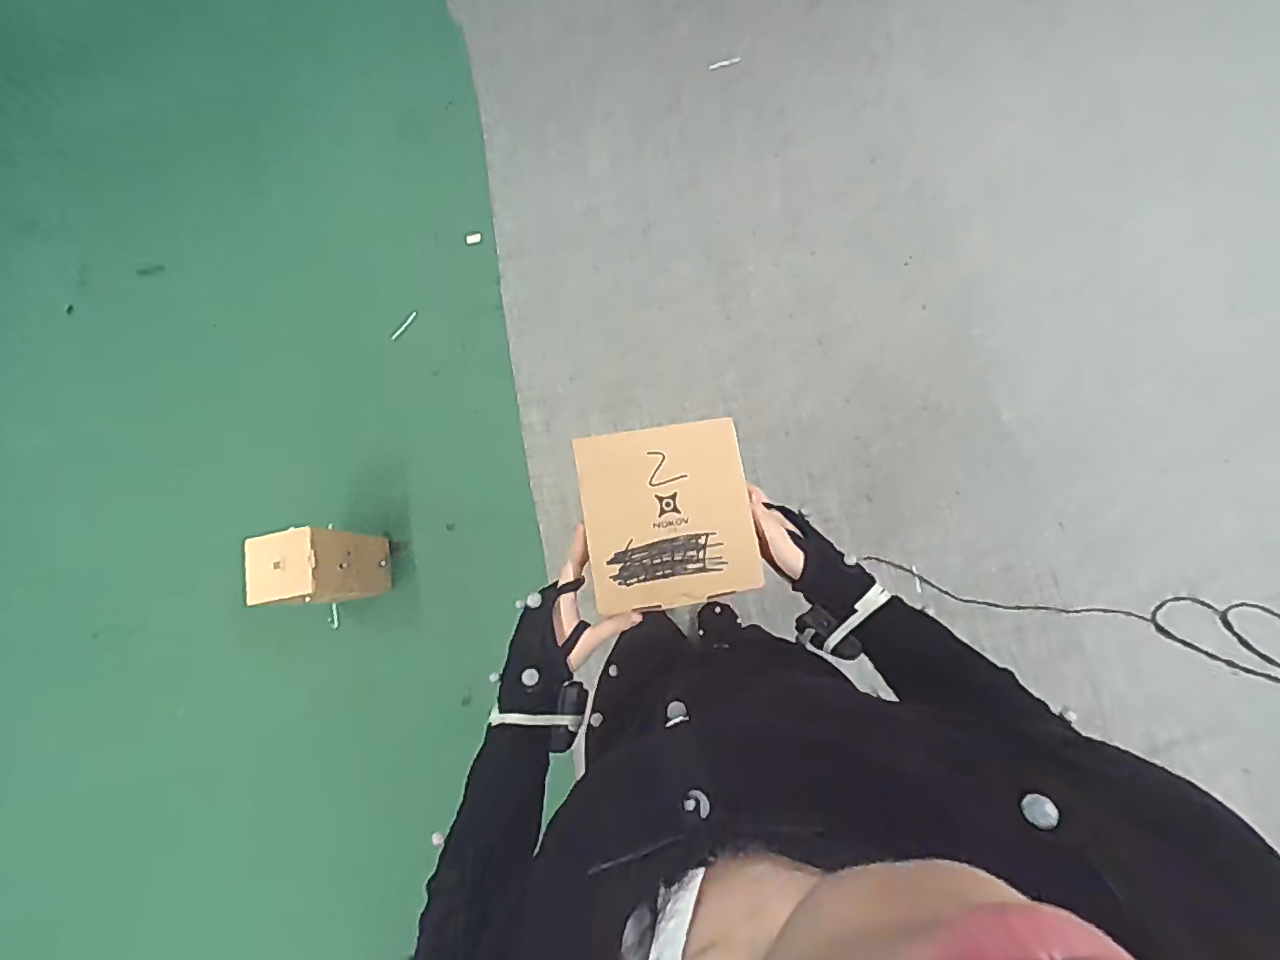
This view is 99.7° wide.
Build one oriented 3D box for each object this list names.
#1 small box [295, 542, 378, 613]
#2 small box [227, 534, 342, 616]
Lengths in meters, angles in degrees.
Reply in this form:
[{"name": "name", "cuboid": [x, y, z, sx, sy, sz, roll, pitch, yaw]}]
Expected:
[{"name": "small box", "cuboid": [-0.862, 0.276, 1.503, 0.179, 0.176, 0.168, -11, 78, 3]}, {"name": "small box", "cuboid": [-0.880, 0.241, 1.346, 0.179, 0.176, 0.168, -12, 77, 3]}]
